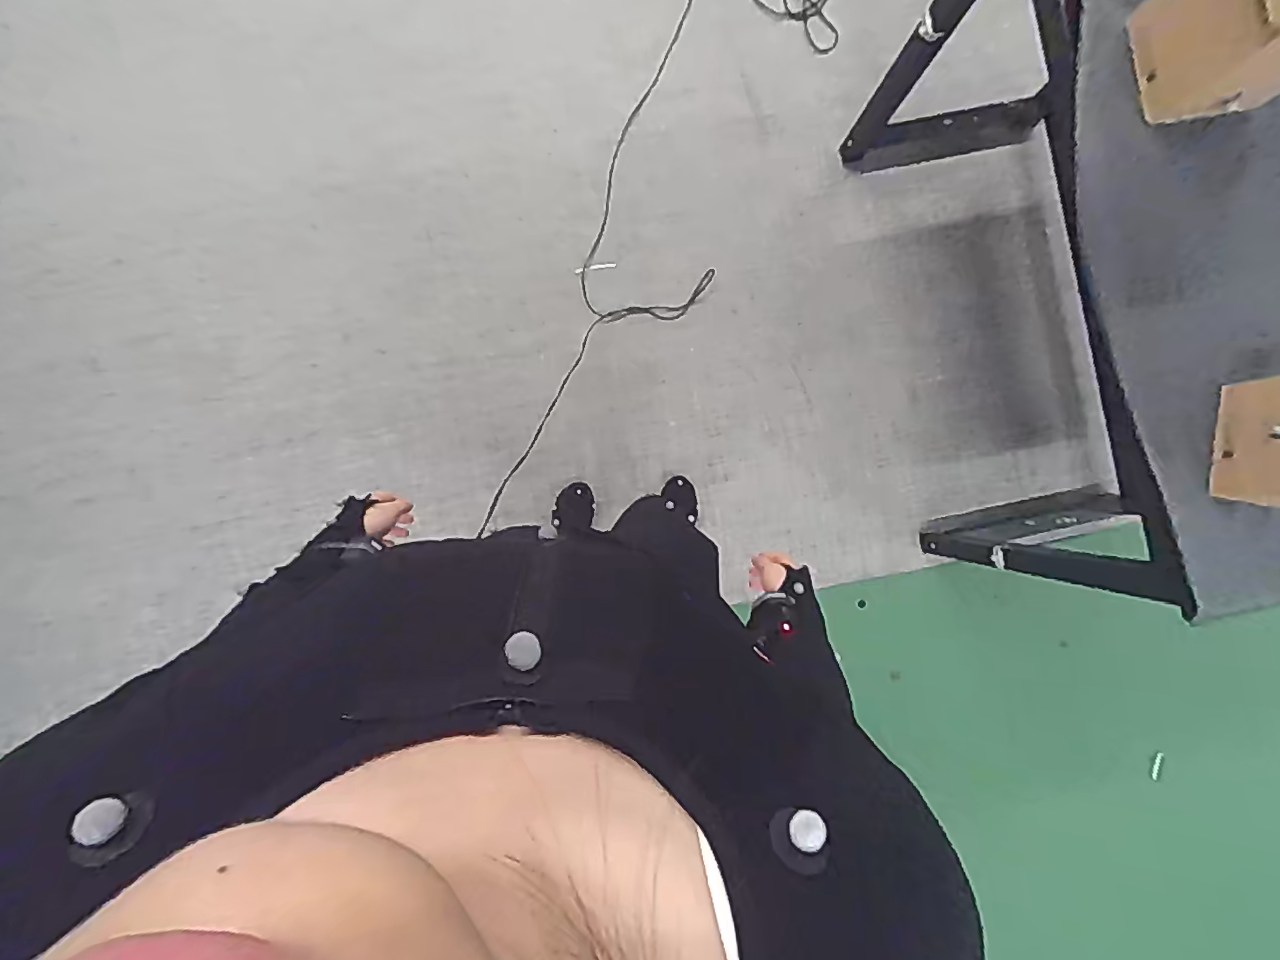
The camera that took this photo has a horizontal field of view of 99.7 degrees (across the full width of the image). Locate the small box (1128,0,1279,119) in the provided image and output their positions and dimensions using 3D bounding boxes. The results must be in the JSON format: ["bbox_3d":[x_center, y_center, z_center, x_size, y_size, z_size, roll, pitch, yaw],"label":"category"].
[{"bbox_3d":[0.816,-0.621,0.717,0.179,0.176,0.168,-11,89,-3],"label":"small box"}]

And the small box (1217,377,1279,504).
[{"bbox_3d":[0.926,-0.048,0.705,0.179,0.176,0.168,9,89,-4],"label":"small box"}]
